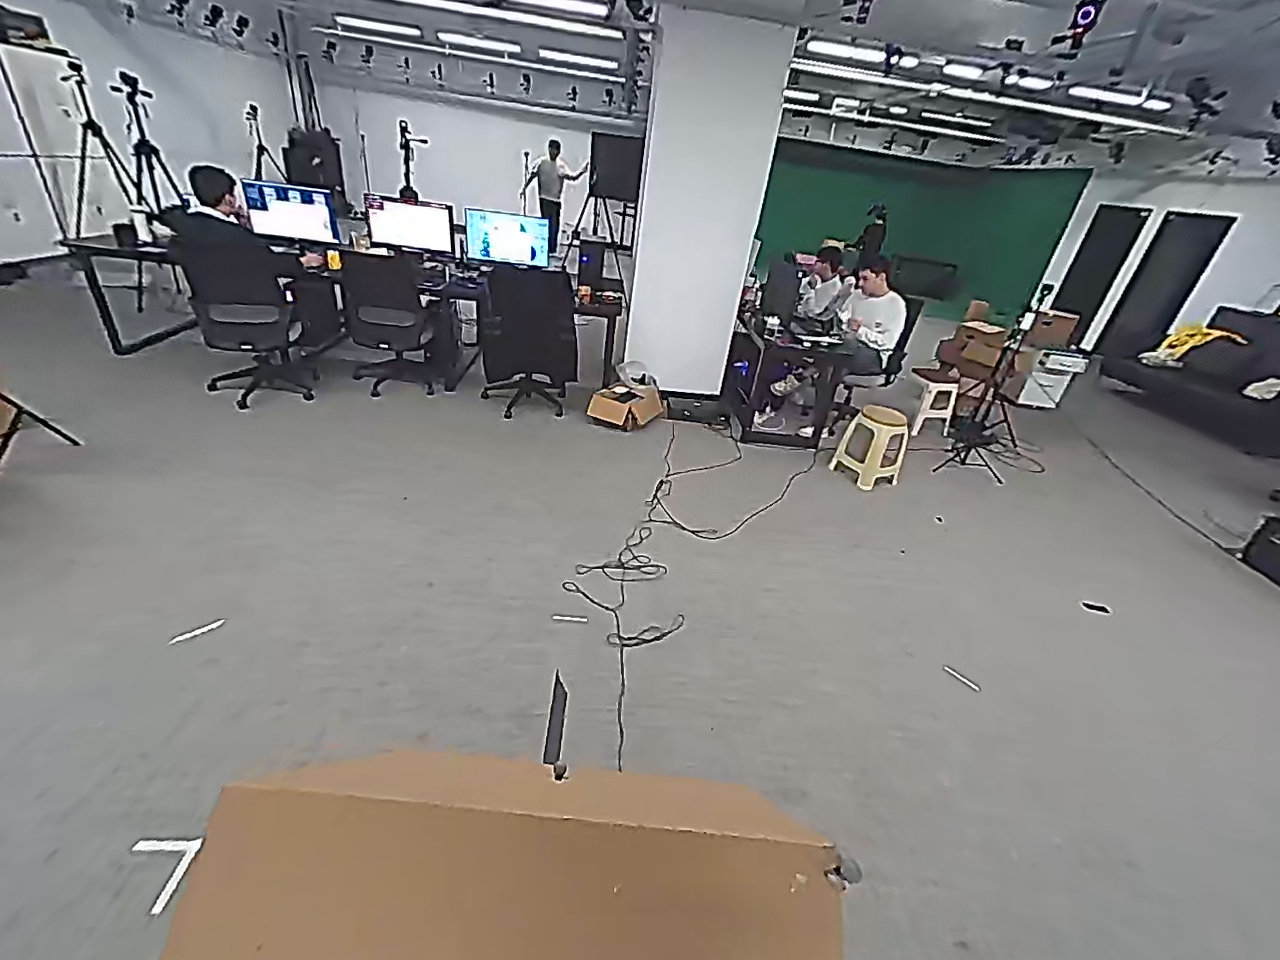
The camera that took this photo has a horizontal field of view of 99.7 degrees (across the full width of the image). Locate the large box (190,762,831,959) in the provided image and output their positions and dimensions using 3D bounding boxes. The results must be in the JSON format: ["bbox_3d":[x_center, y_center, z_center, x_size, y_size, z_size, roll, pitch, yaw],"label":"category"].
[{"bbox_3d":[-0.090,0.425,0.442,0.408,0.320,0.320,5,68,0],"label":"large box"}]
